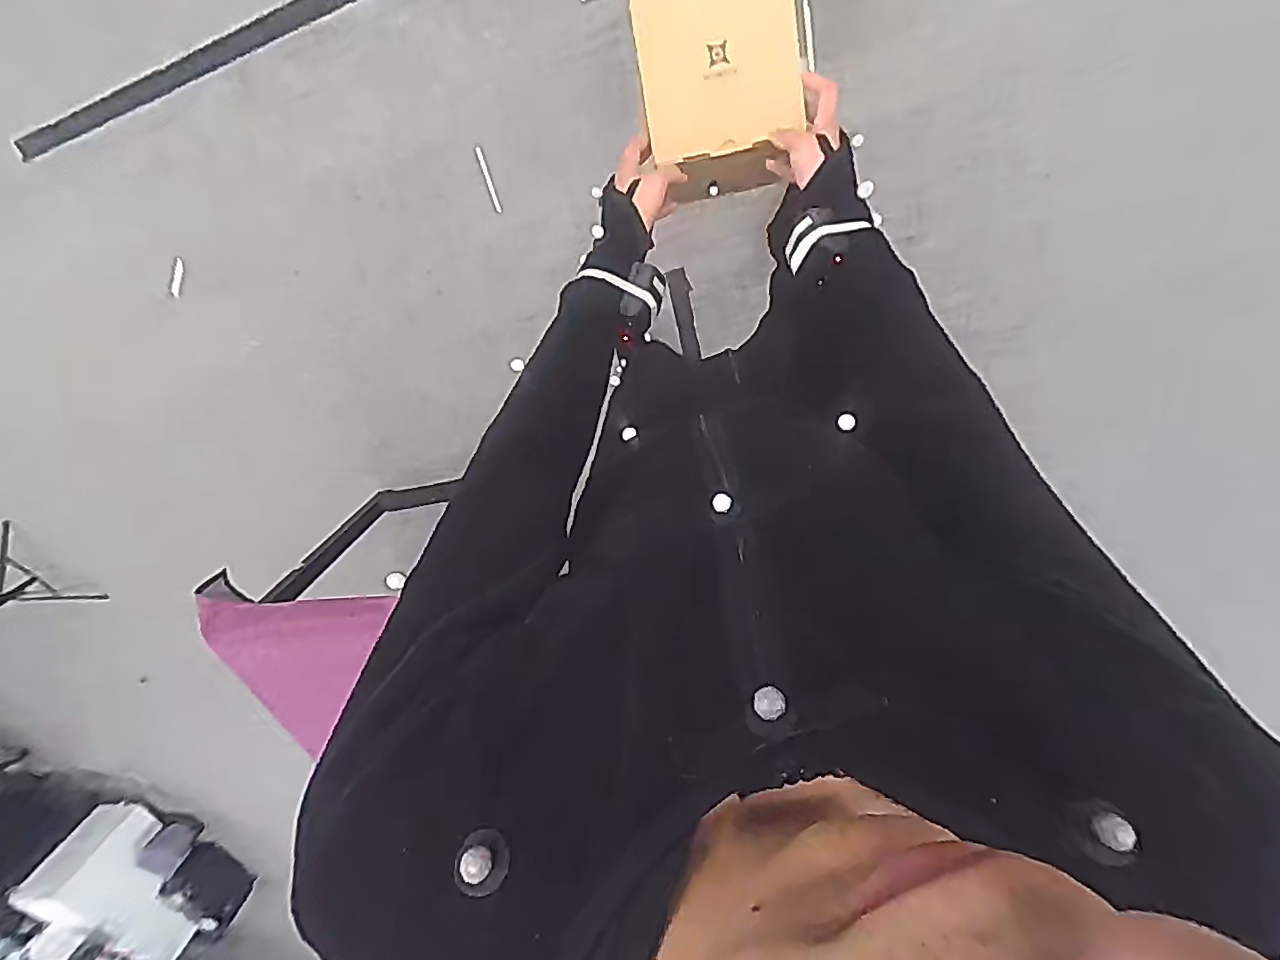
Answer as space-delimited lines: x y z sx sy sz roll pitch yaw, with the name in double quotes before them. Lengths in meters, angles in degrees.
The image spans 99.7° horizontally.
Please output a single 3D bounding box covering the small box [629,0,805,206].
"small box" 0.086 -0.452 0.639 0.168 0.176 0.179 -9 103 7
